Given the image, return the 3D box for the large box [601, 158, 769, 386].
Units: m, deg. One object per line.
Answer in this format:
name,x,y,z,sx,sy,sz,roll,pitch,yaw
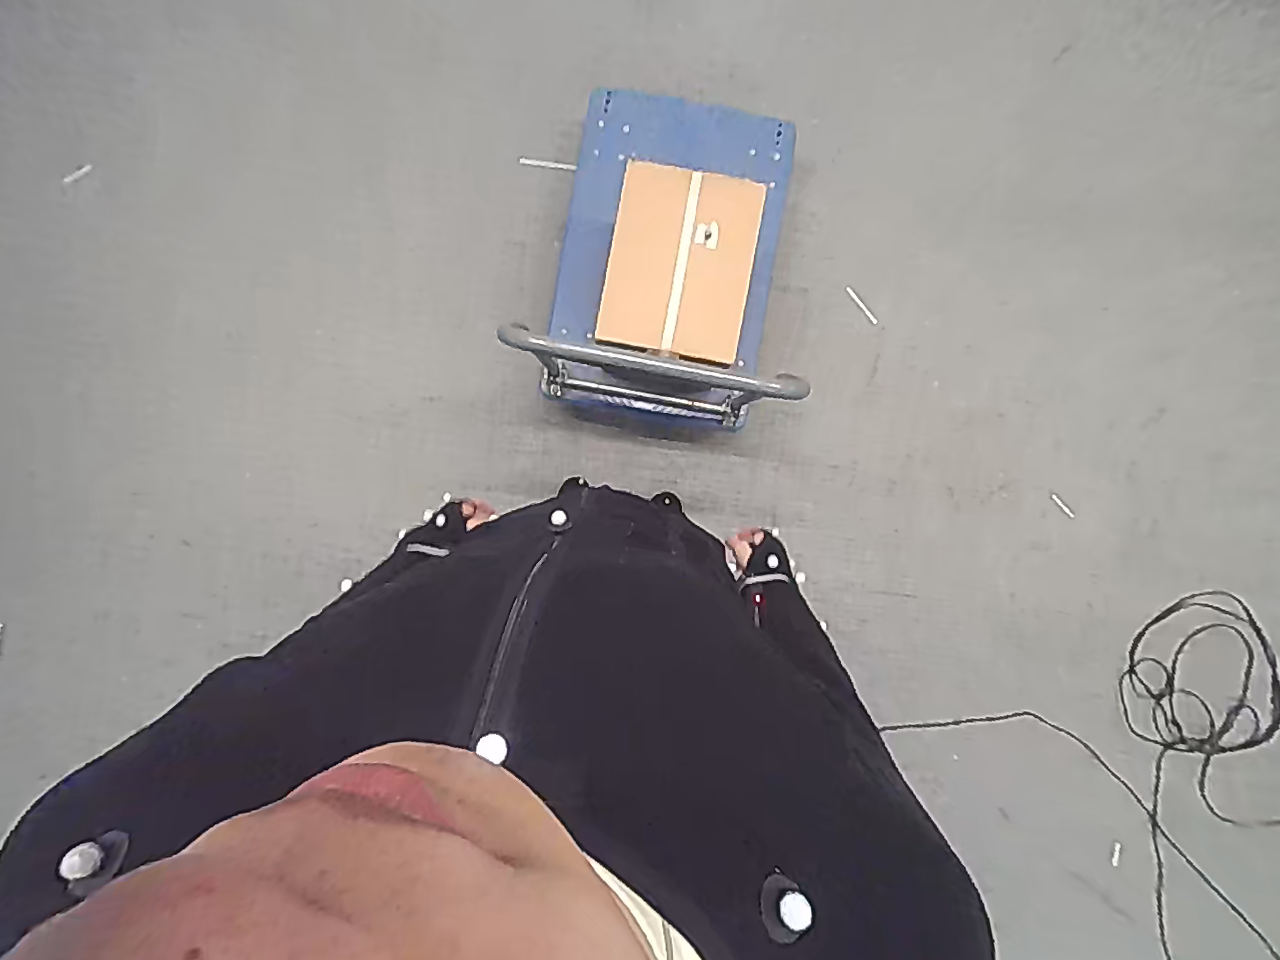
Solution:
large box,0.095,-0.471,1.312,0.320,0.320,0.408,11,89,-2
